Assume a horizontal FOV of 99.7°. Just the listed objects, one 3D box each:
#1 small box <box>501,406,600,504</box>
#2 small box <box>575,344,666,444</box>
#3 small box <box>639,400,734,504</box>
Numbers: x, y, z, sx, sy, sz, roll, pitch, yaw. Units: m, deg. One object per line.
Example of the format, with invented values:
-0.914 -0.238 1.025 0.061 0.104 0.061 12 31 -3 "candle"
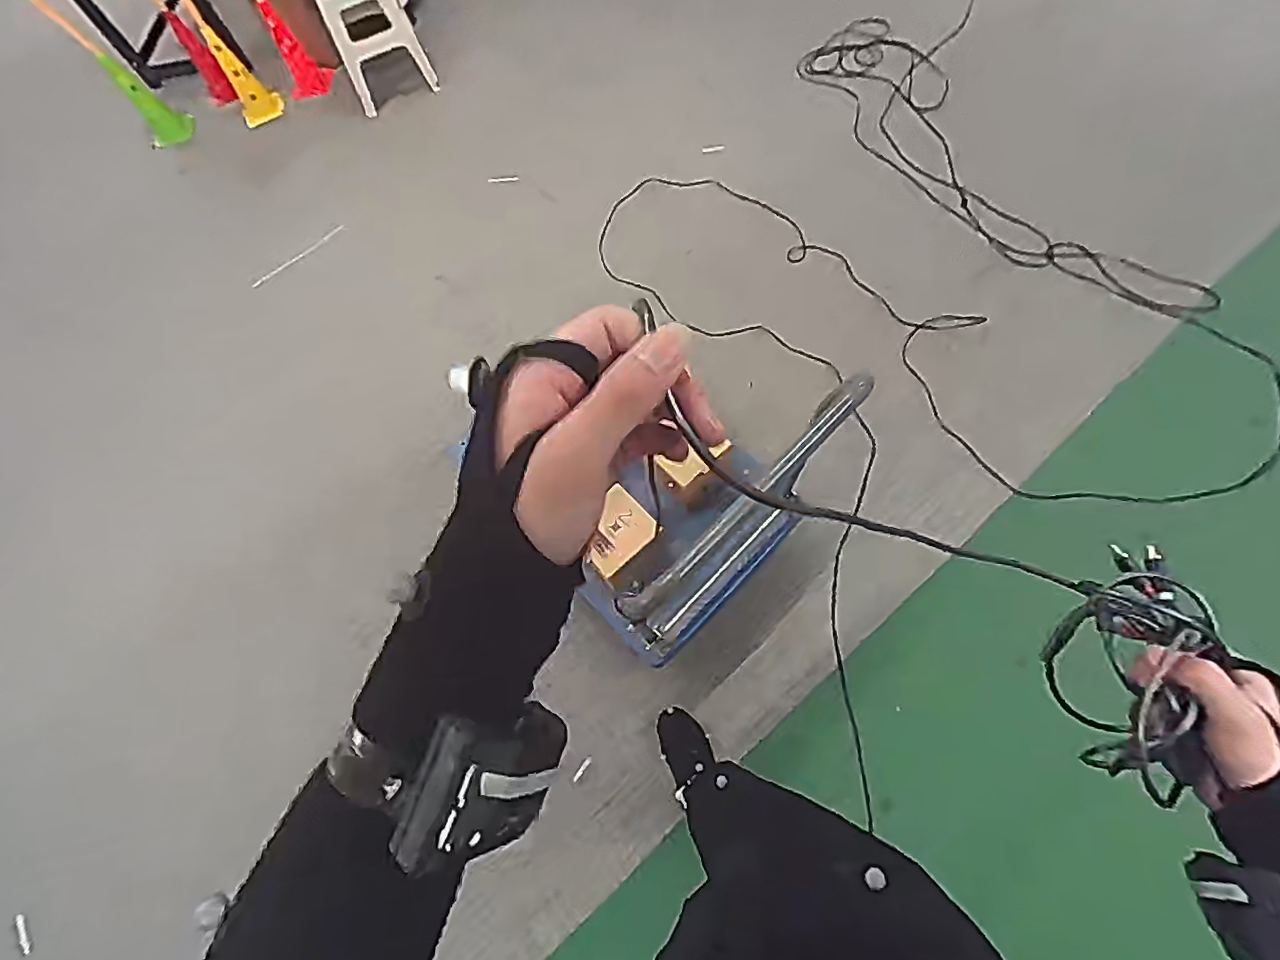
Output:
-0.227 -0.055 1.429 0.179 0.176 0.168 38 77 20 "small box"
-0.047 -0.229 1.478 0.179 0.176 0.168 41 79 20 "small box"
0.120 -0.066 1.390 0.168 0.176 0.179 -42 69 -10 "small box"
